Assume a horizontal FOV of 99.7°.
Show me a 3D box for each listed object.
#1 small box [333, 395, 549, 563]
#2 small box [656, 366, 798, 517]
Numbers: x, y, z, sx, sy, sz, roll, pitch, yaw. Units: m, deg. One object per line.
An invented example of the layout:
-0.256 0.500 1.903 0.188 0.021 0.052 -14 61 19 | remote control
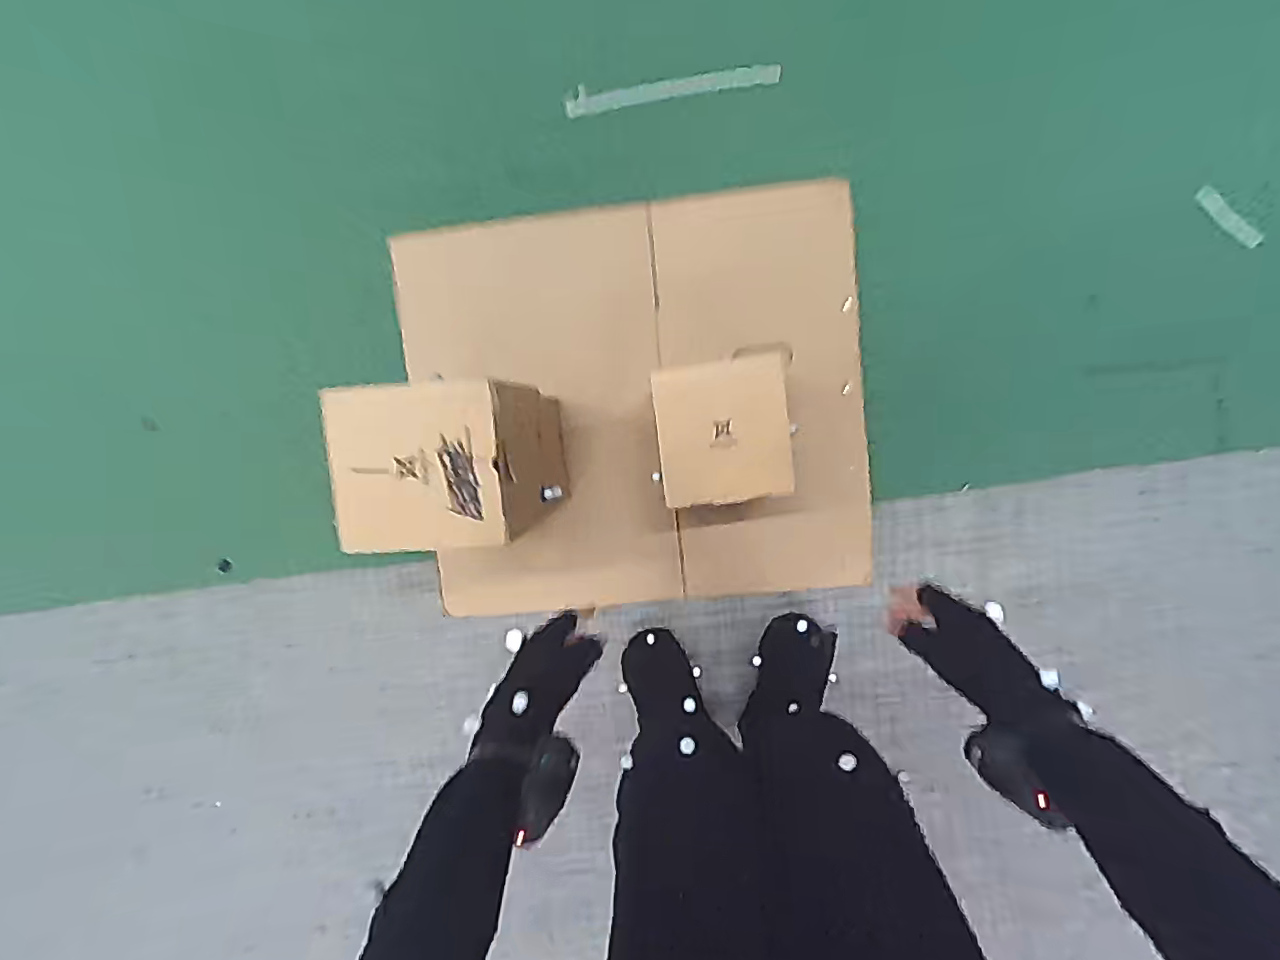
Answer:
-0.207 -0.008 0.615 0.179 0.176 0.168 -3 95 6 | small box
0.113 -0.053 0.759 0.168 0.176 0.179 -8 95 4 | small box
